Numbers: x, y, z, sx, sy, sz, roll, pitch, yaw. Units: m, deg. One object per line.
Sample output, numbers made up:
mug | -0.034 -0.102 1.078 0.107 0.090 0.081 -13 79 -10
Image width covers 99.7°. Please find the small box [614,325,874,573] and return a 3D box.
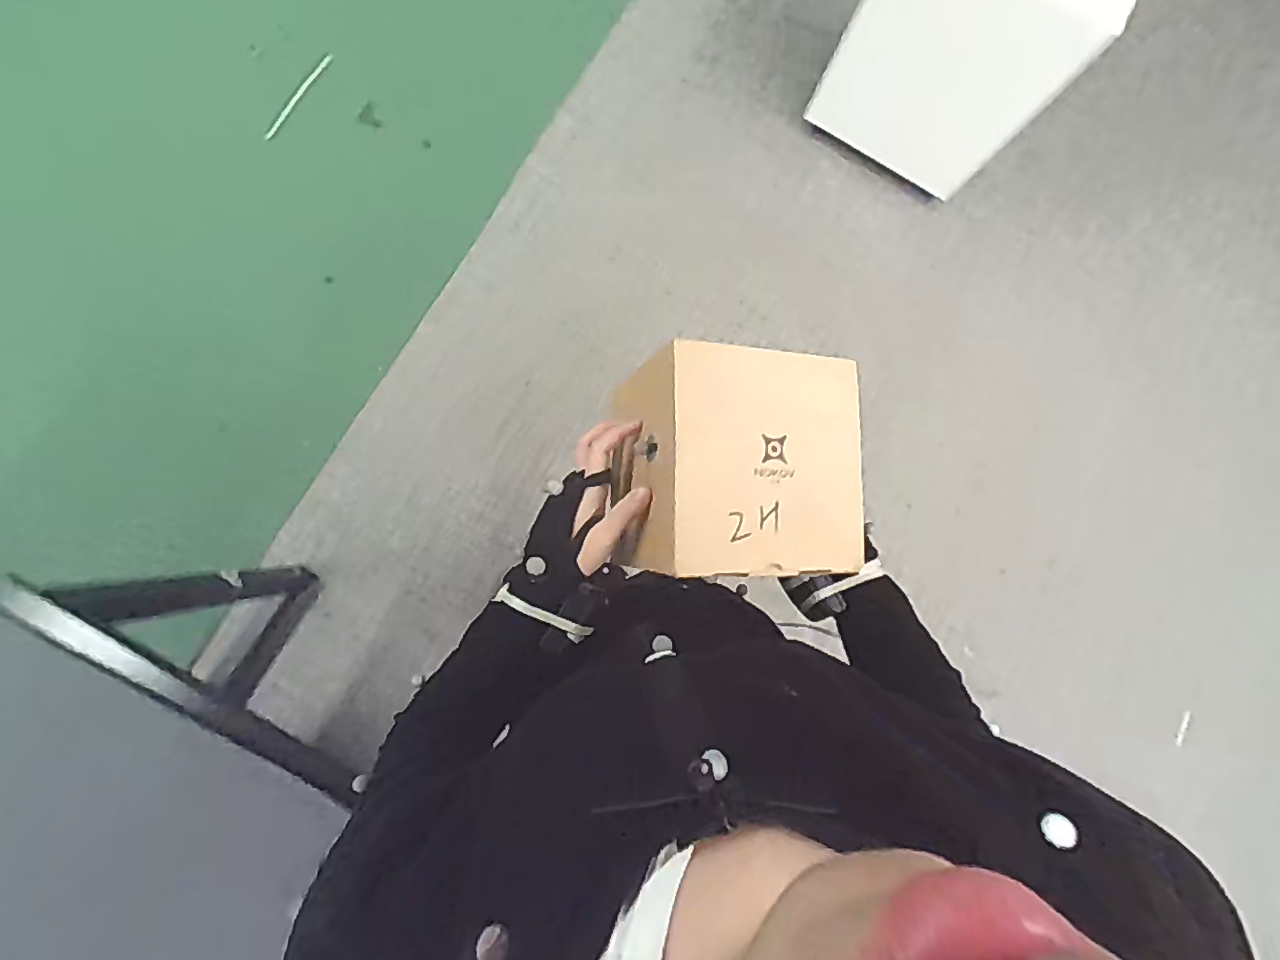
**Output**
small box | 0.077 -0.012 0.470 0.168 0.176 0.179 3 84 -17
